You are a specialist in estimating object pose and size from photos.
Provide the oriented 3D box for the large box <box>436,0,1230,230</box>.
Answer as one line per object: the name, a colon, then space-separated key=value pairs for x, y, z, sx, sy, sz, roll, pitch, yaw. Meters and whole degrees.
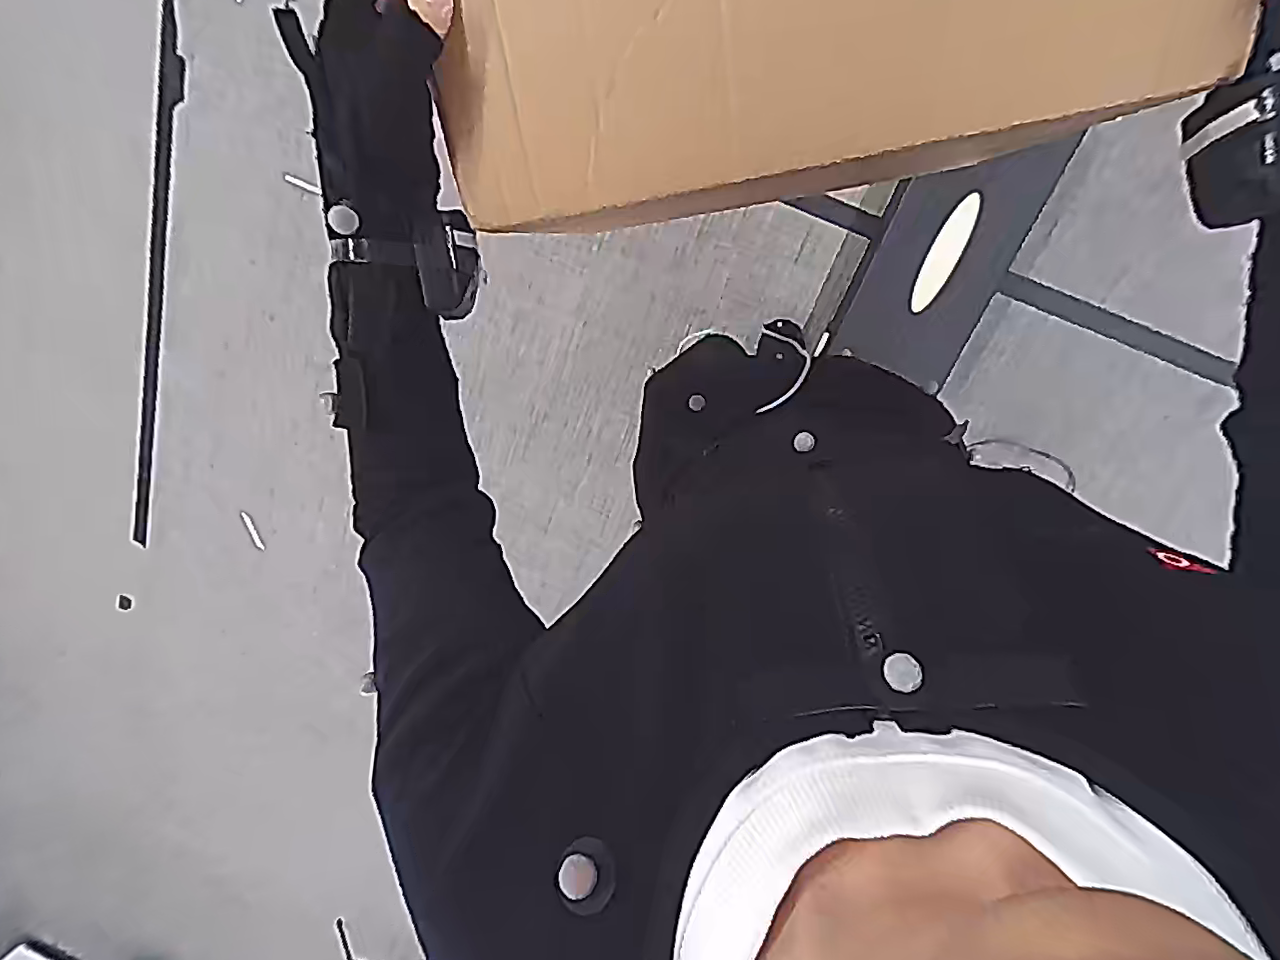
large box: x=0.090 y=-0.386 z=0.388 sx=0.408 sy=0.320 sz=0.320 roll=-6 pitch=113 yaw=11
